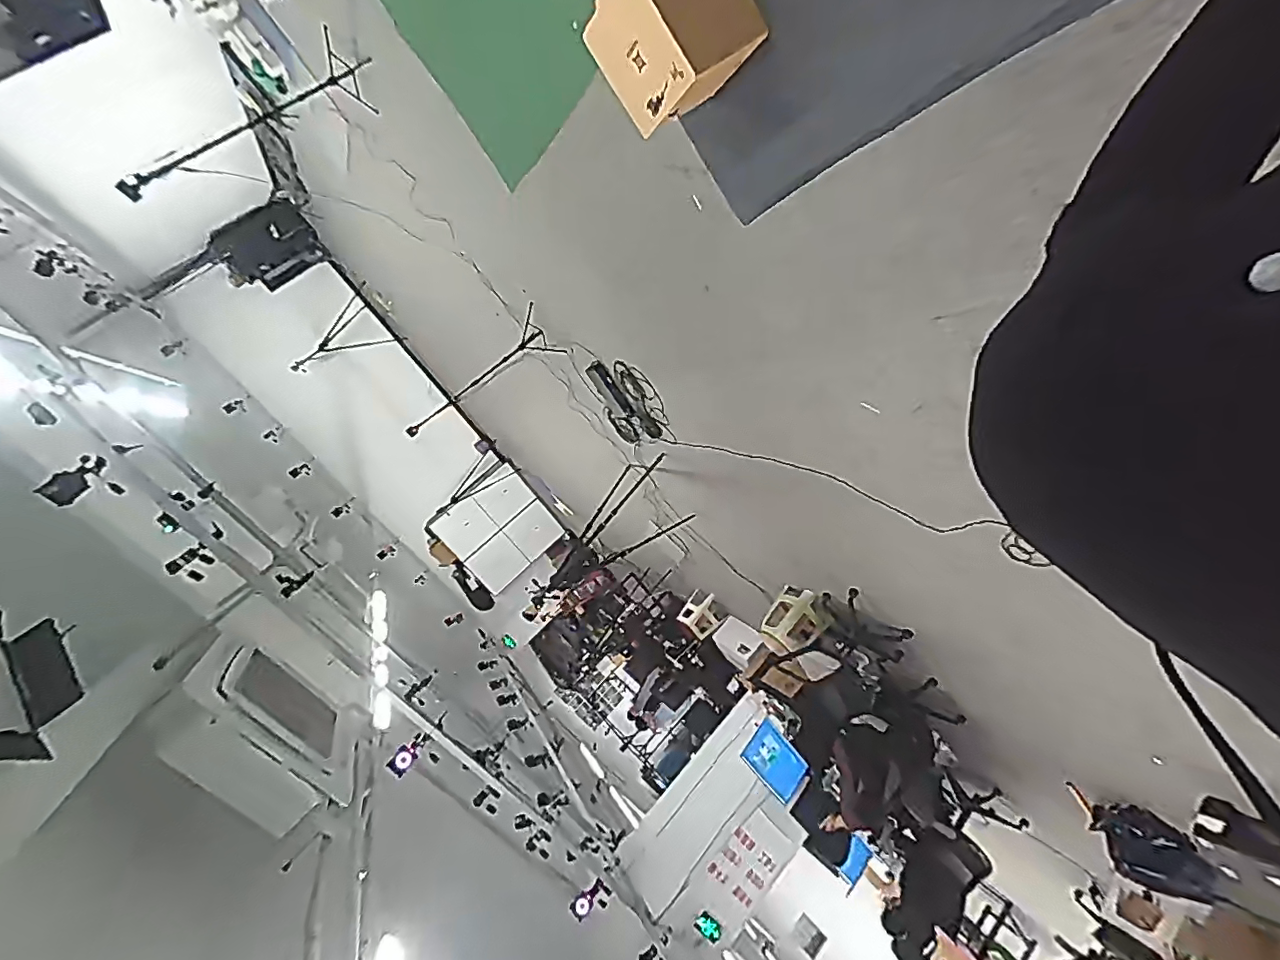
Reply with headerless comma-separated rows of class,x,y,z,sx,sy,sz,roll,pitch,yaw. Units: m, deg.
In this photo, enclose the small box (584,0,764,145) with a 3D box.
small box,0.051,-0.669,0.827,0.179,0.176,0.168,53,162,-18
